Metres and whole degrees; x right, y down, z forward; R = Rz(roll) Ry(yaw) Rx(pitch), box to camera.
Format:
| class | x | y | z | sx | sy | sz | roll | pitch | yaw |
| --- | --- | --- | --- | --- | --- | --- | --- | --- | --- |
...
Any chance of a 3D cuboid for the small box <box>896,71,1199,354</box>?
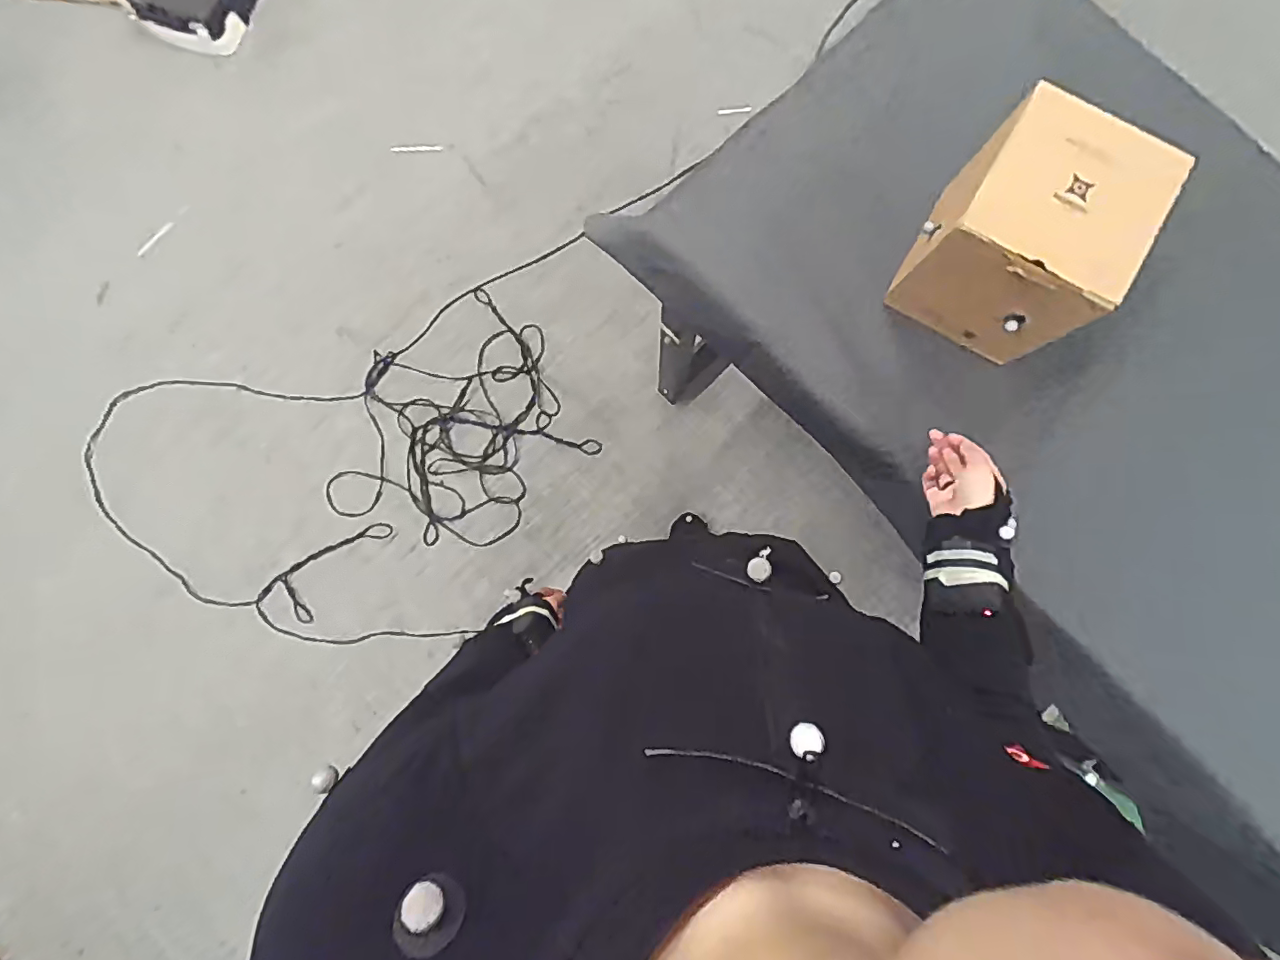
| class | x | y | z | sx | sy | sz | roll | pitch | yaw |
| --- | --- | --- | --- | --- | --- | --- | --- | --- | --- |
| small box | 0.407 | -0.264 | 0.576 | 0.168 | 0.176 | 0.179 | 30 | 84 | 2 |
